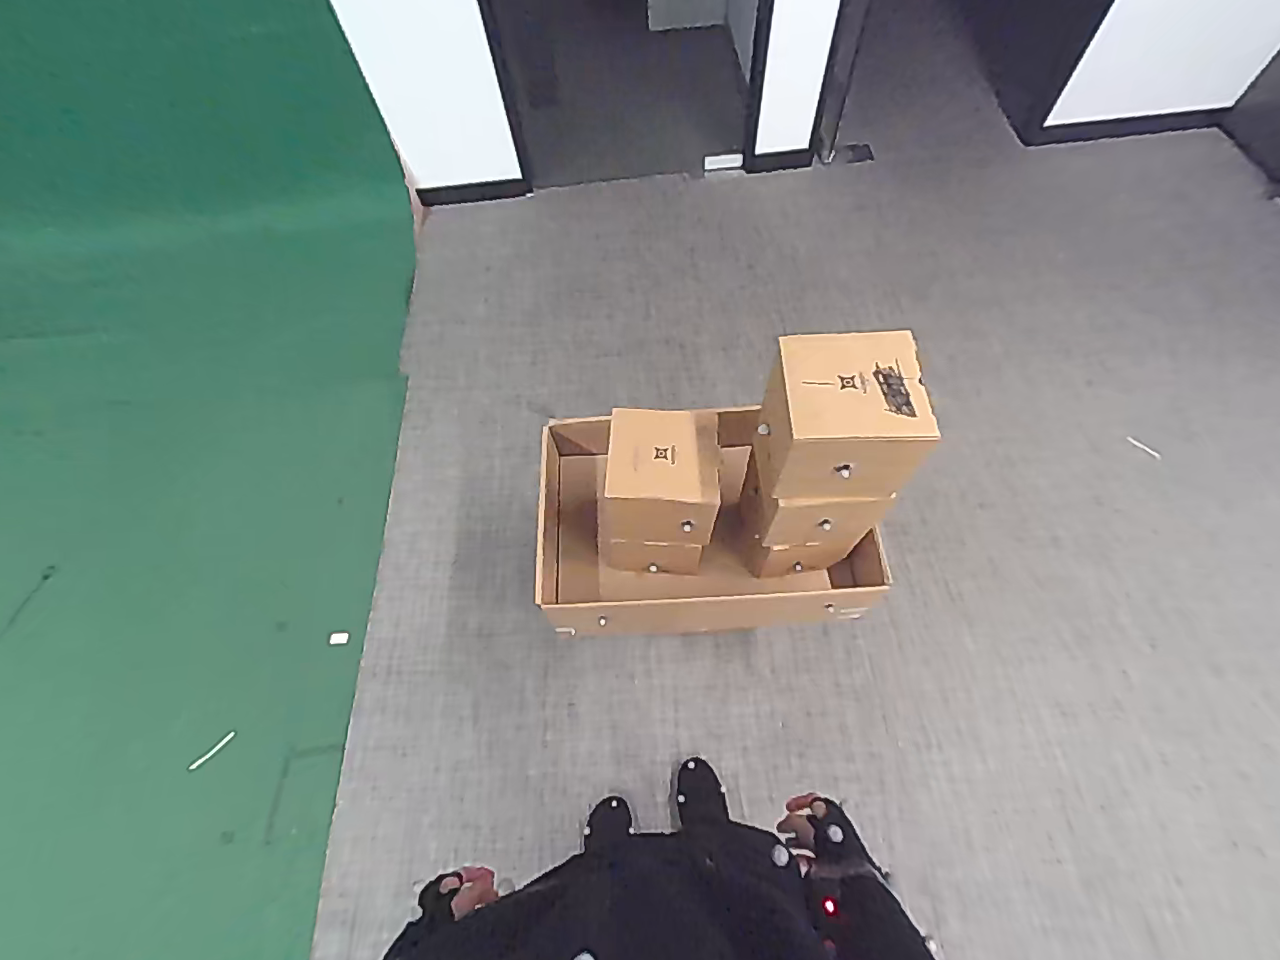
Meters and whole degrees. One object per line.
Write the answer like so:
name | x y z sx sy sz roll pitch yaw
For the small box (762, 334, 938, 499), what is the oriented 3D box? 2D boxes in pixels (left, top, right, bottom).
small box | 0.273 -0.082 0.749 0.179 0.176 0.168 -1 62 4

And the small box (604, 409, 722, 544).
small box | 0.038 0.000 0.906 0.179 0.176 0.168 3 61 2
